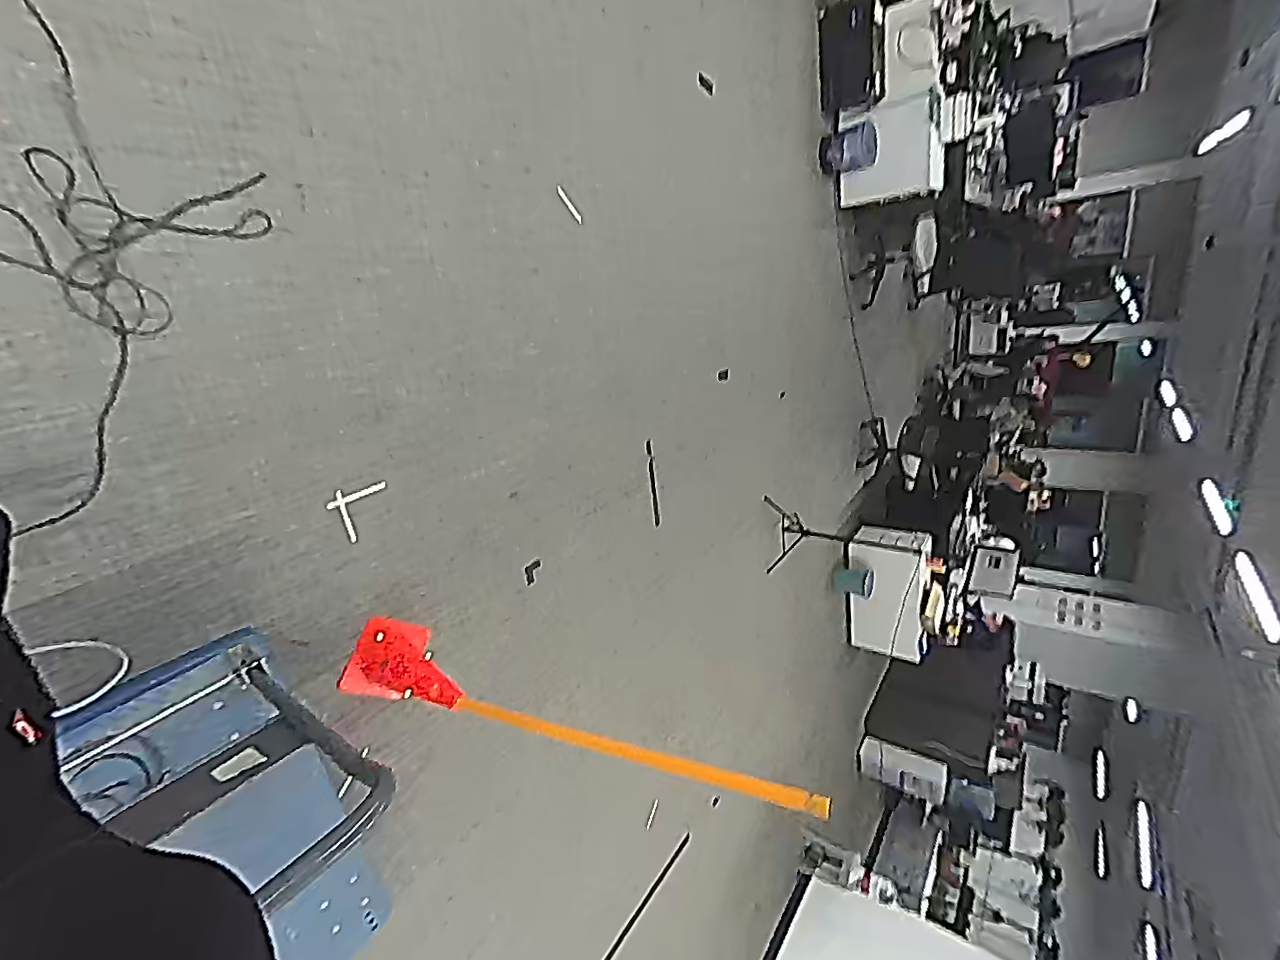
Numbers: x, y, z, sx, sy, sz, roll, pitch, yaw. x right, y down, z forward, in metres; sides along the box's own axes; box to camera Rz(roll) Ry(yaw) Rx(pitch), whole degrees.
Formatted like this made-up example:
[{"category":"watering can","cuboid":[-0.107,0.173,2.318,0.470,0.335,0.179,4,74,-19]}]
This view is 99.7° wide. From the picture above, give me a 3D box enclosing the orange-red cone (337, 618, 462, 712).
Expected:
[{"category":"orange-red cone","cuboid":[-0.563,0.507,1.364,0.198,0.360,0.199,40,66,-47]}]
